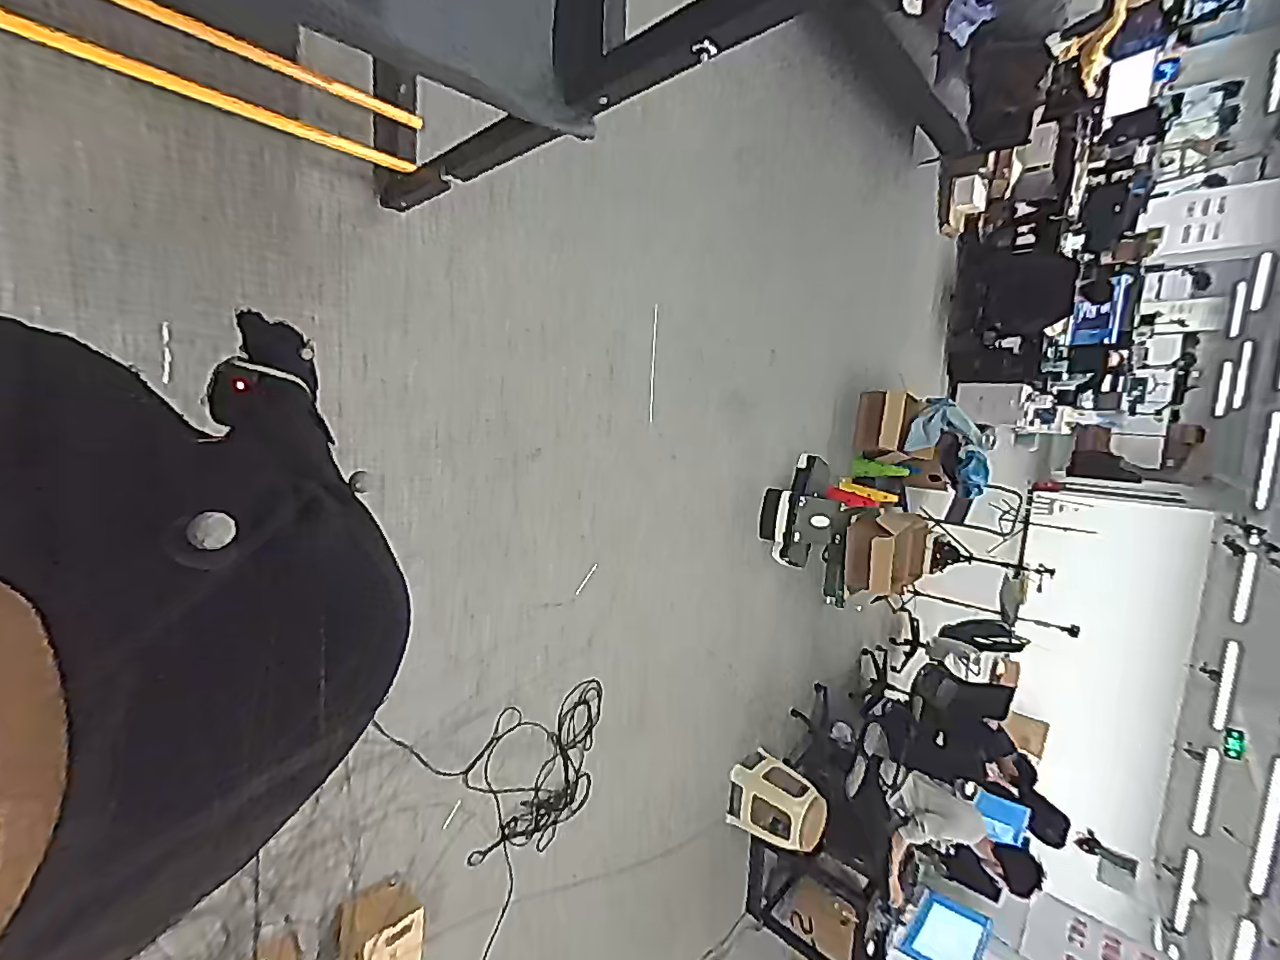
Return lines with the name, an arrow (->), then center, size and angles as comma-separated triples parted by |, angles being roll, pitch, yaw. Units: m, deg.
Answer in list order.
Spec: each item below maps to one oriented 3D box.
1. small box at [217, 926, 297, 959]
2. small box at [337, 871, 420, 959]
small box -> -0.953, 1.282, 1.344 | 0.168, 0.176, 0.179 | -7, 102, -47
small box -> -0.757, 1.277, 1.558 | 0.168, 0.176, 0.179 | 0, 97, -48
